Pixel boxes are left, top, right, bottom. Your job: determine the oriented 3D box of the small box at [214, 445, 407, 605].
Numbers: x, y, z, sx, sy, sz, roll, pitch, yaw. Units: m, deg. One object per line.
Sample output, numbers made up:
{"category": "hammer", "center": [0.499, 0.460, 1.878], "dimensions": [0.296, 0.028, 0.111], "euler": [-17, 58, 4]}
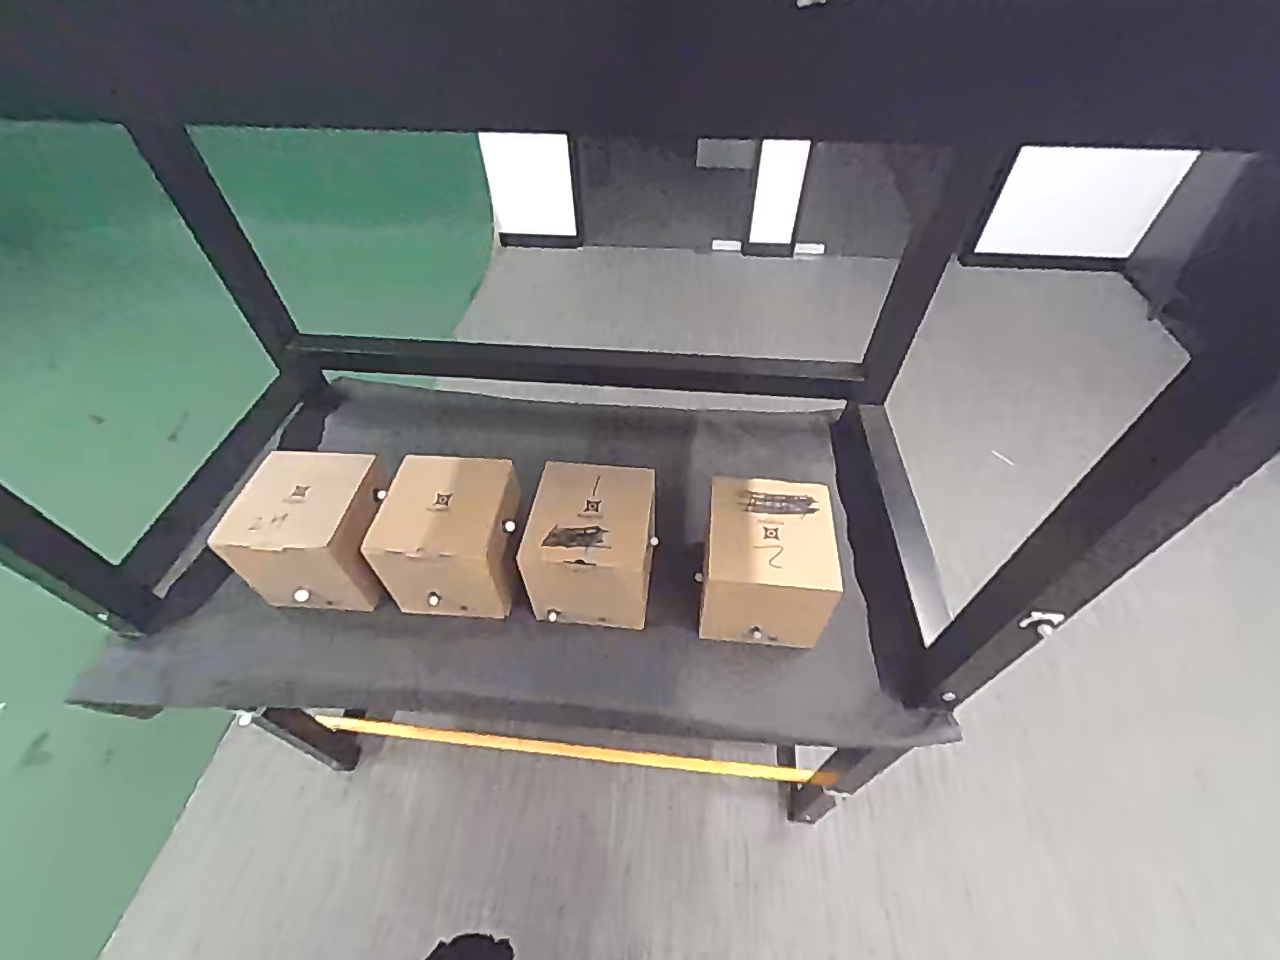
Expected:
{"category": "small box", "center": [-0.480, 0.068, 0.828], "dimensions": [0.168, 0.176, 0.179], "euler": [2, 49, 3]}
